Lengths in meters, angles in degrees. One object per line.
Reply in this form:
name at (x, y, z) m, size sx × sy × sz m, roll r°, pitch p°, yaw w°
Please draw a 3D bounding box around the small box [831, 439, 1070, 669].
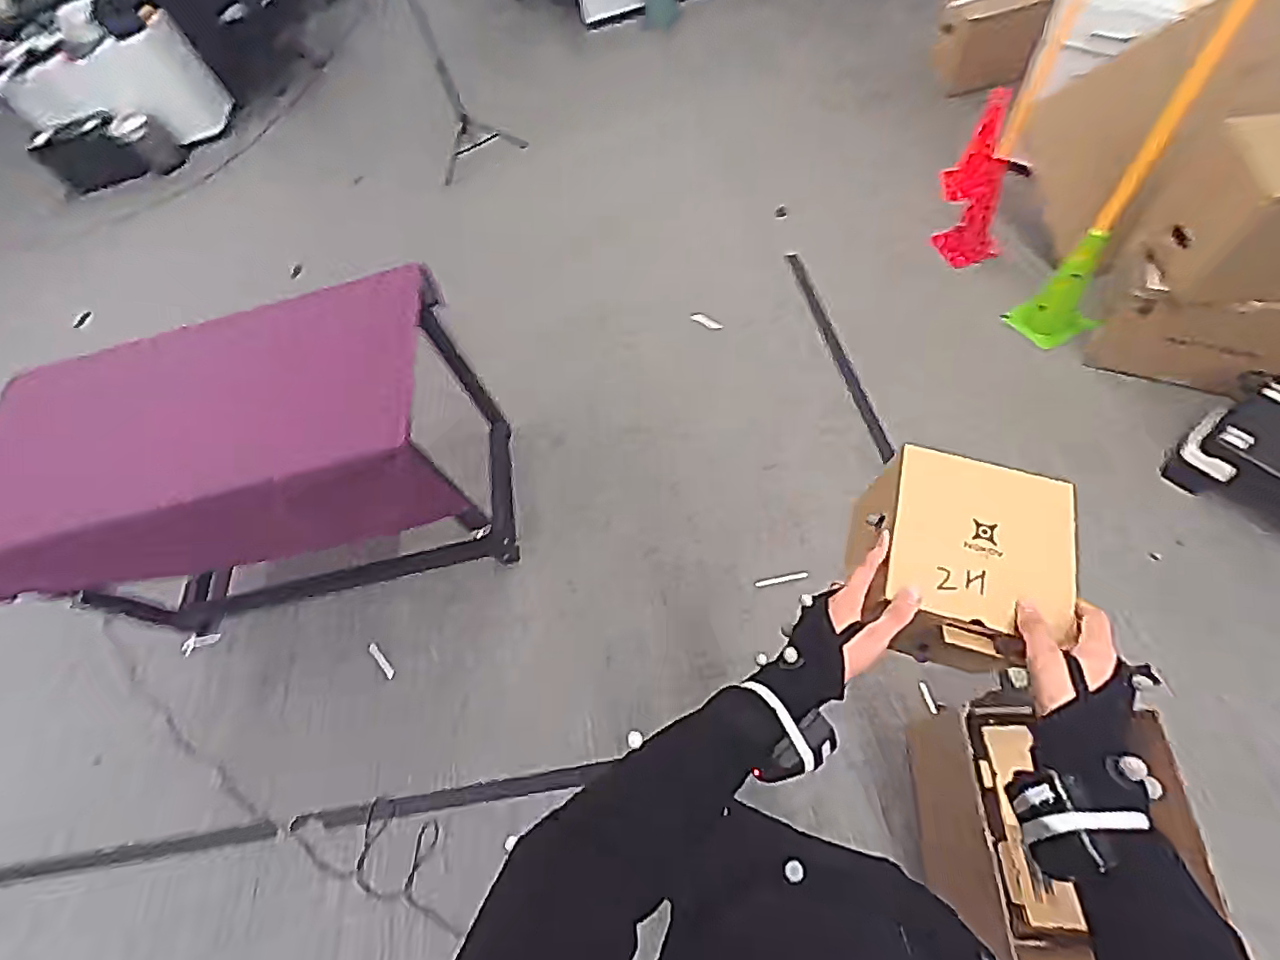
small box at (0.319, 0.087, 0.583) m, size 0.168 × 0.176 × 0.179 m, roll 15°, pitch 66°, yaw 10°
